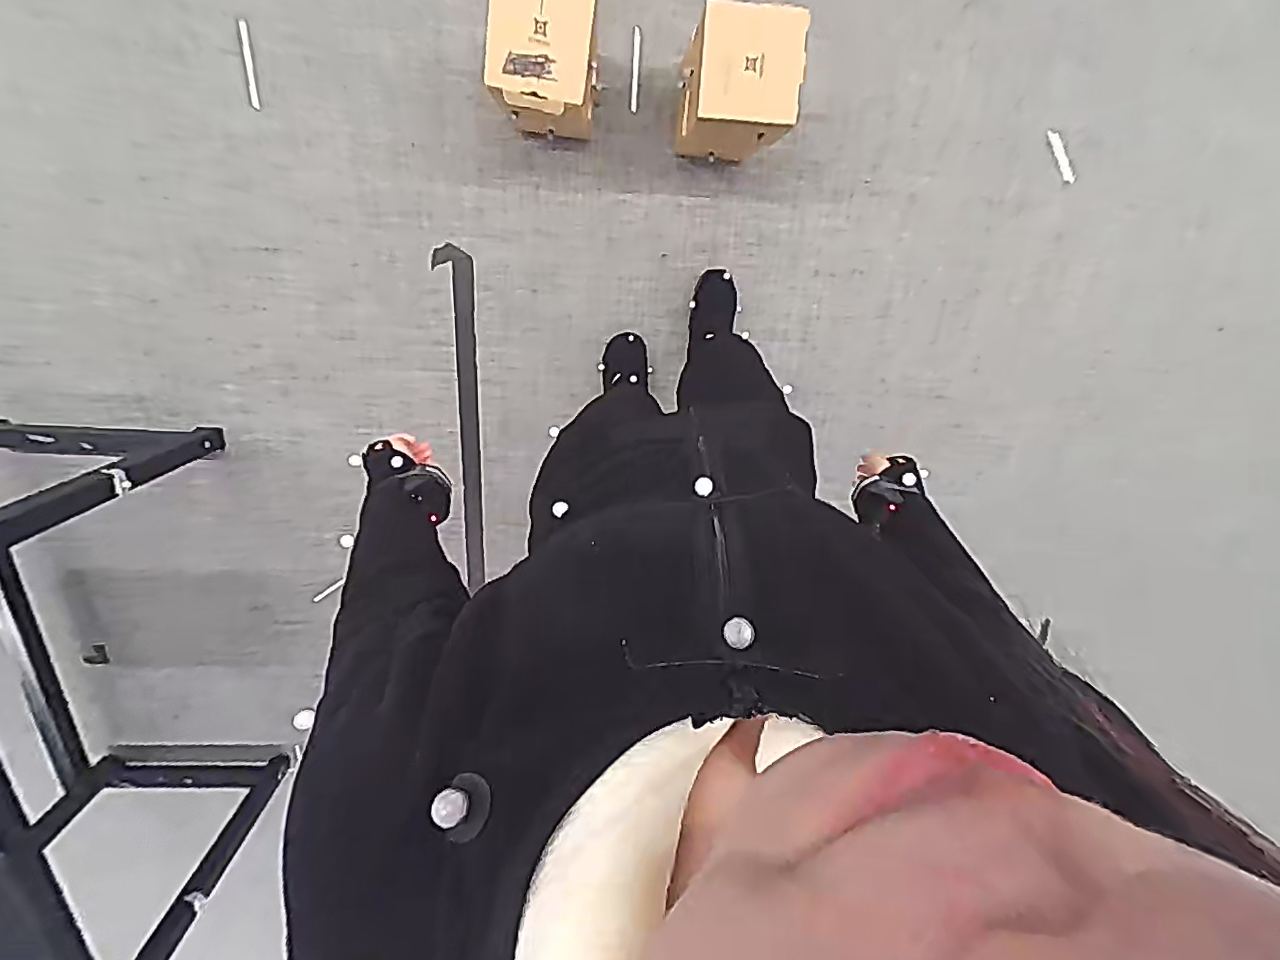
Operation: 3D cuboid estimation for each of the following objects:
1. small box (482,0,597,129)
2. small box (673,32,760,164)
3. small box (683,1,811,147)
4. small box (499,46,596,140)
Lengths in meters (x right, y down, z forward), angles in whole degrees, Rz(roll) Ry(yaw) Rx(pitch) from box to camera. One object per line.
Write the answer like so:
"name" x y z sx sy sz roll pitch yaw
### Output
"small box" -0.167 -0.737 0.936 0.168 0.176 0.179 8 110 -7
"small box" 0.164 -0.778 1.120 0.168 0.176 0.179 4 111 -5
"small box" 0.182 -0.714 0.971 0.179 0.176 0.168 2 110 -4
"small box" -0.182 -0.802 1.087 0.179 0.176 0.168 4 111 -7
